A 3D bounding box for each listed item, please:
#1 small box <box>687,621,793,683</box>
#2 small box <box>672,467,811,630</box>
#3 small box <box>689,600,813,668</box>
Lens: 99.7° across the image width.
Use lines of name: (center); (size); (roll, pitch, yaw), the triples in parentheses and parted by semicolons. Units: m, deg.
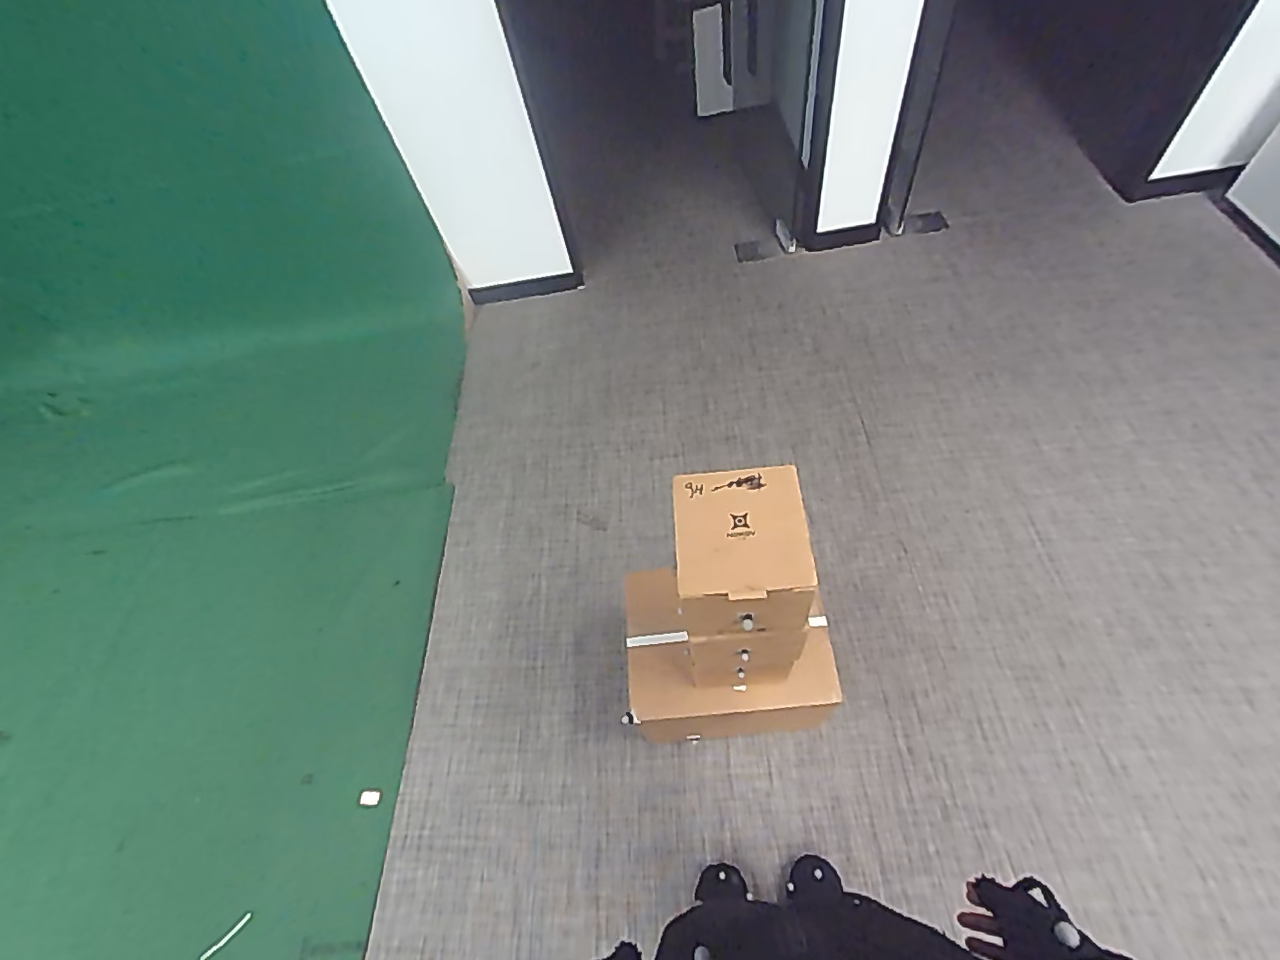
small box: (0.181, 0.281, 1.021); (0.179, 0.176, 0.168); (-6, 58, 6)
small box: (0.137, 0.103, 0.749); (0.168, 0.176, 0.179); (-5, 58, 8)
small box: (0.164, 0.198, 0.881); (0.179, 0.176, 0.168); (-9, 57, 4)
